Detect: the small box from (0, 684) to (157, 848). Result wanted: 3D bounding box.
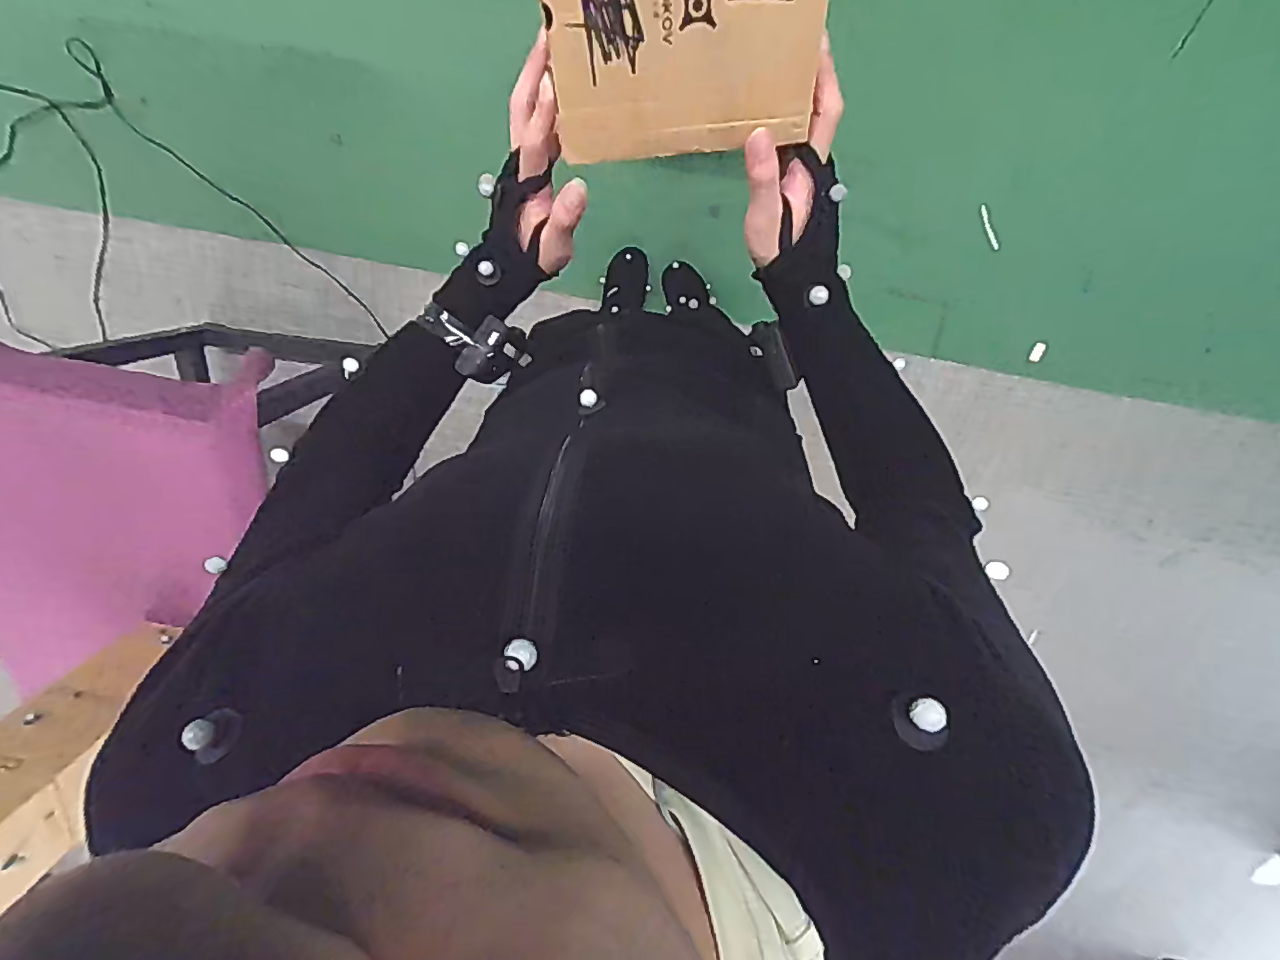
[{"bbox_3d":[-0.998,0.488,0.940,0.168,0.176,0.179,14,113,-1],"label":"small box"}]

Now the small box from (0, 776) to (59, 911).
[{"bbox_3d":[-1.016,0.549,0.790,0.179,0.176,0.168,13,113,-1],"label":"small box"}]

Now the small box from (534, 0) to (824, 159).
[{"bbox_3d":[0.021,-0.347,0.372,0.179,0.176,0.168,-4,141,2],"label":"small box"}]
